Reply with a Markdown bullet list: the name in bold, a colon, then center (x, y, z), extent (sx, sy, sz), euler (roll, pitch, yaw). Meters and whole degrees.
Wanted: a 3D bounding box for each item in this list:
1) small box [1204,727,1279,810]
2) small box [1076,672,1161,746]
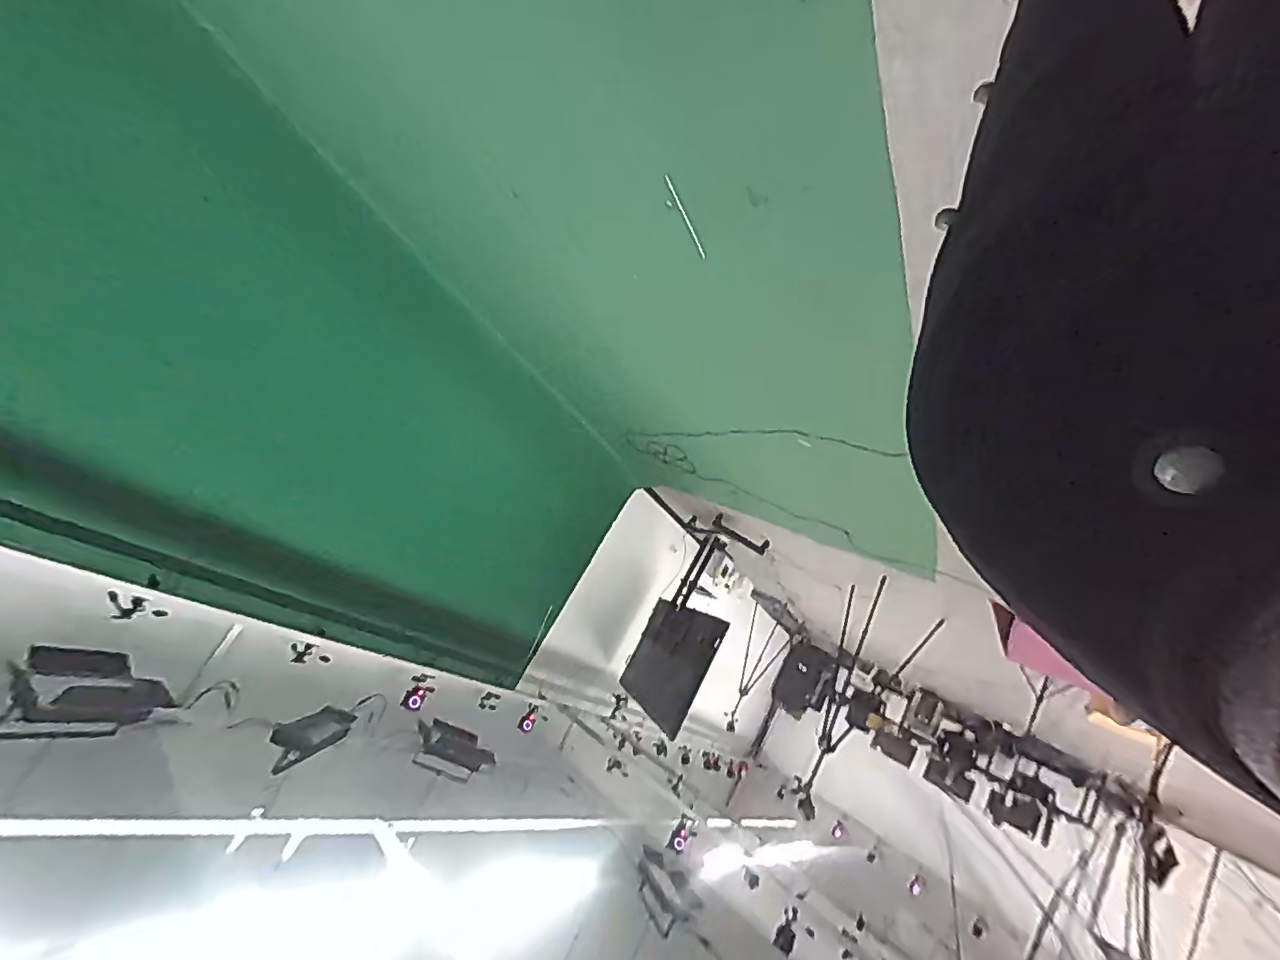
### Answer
- **small box**: center (1.865, 0.861, 1.625), extent (0.179, 0.176, 0.168), euler (20, 163, 36)
- **small box**: center (1.612, 0.767, 1.822), extent (0.168, 0.176, 0.179), euler (21, 164, 35)
